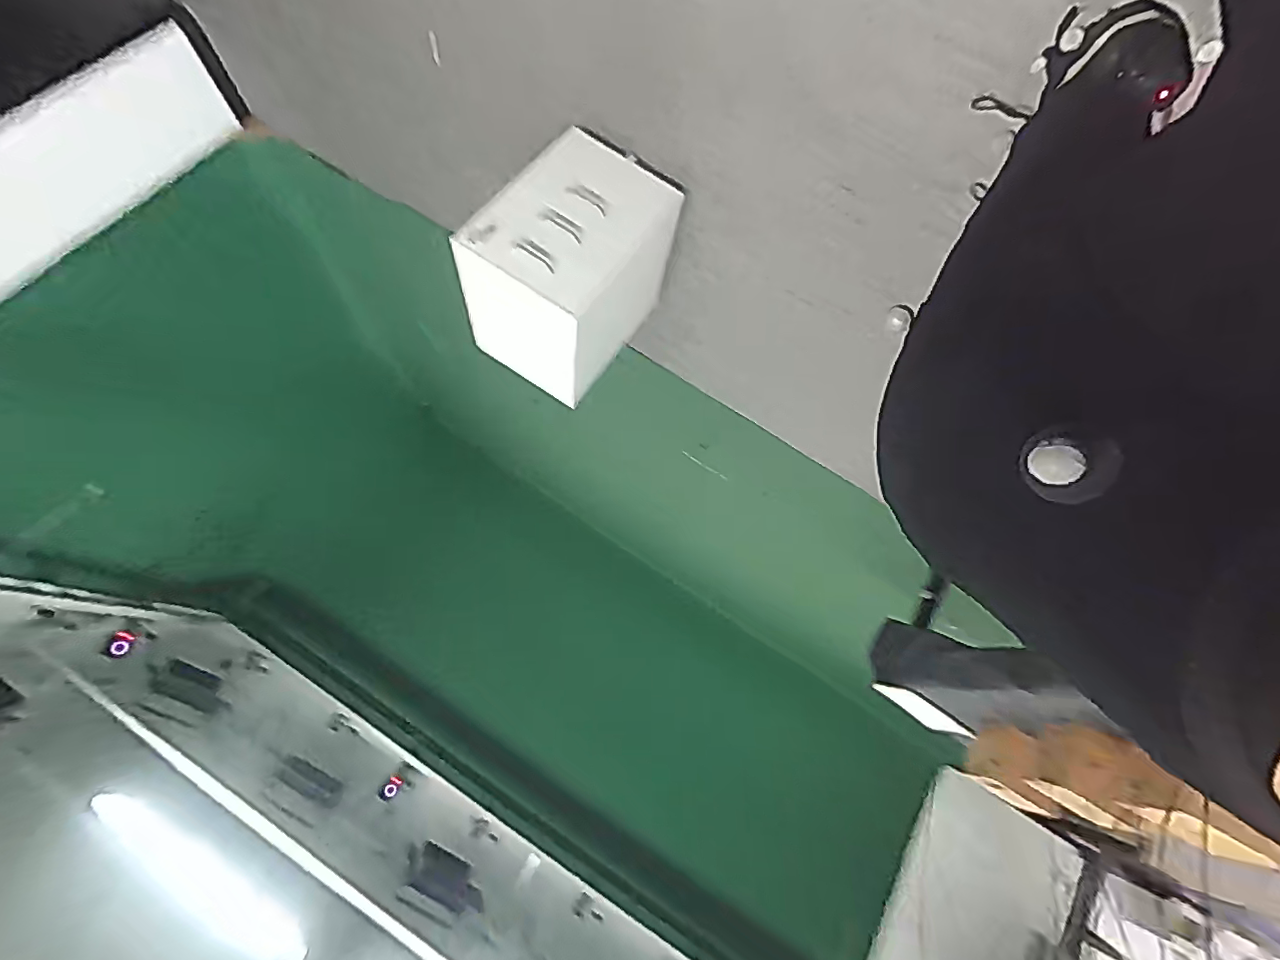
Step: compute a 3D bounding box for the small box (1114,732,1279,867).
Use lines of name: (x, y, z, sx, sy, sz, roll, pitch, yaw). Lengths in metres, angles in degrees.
small box: (1.119, 0.629, 1.089, 0.168, 0.176, 0.179, 28, 159, 17)

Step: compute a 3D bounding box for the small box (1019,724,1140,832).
small box: (1.098, 0.727, 1.341, 0.179, 0.176, 0.168, 28, 160, 14)
